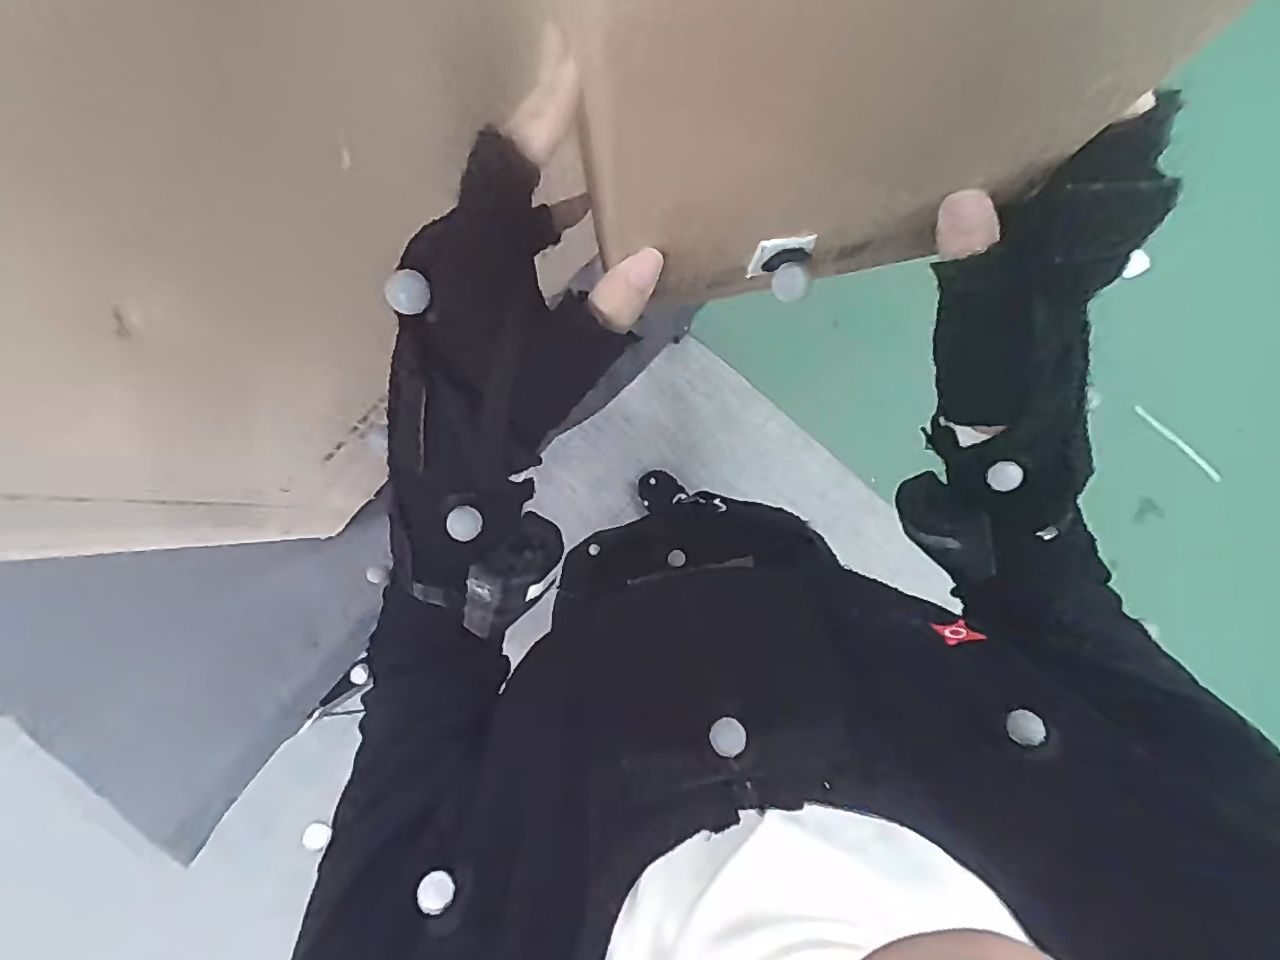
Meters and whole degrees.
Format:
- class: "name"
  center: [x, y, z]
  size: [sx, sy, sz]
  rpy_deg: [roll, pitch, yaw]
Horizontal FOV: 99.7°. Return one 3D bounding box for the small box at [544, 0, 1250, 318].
- class: "small box"
  center: [0.050, -0.179, 0.182]
  size: [0.168, 0.176, 0.179]
  rpy_deg: [-13, 88, 0]
